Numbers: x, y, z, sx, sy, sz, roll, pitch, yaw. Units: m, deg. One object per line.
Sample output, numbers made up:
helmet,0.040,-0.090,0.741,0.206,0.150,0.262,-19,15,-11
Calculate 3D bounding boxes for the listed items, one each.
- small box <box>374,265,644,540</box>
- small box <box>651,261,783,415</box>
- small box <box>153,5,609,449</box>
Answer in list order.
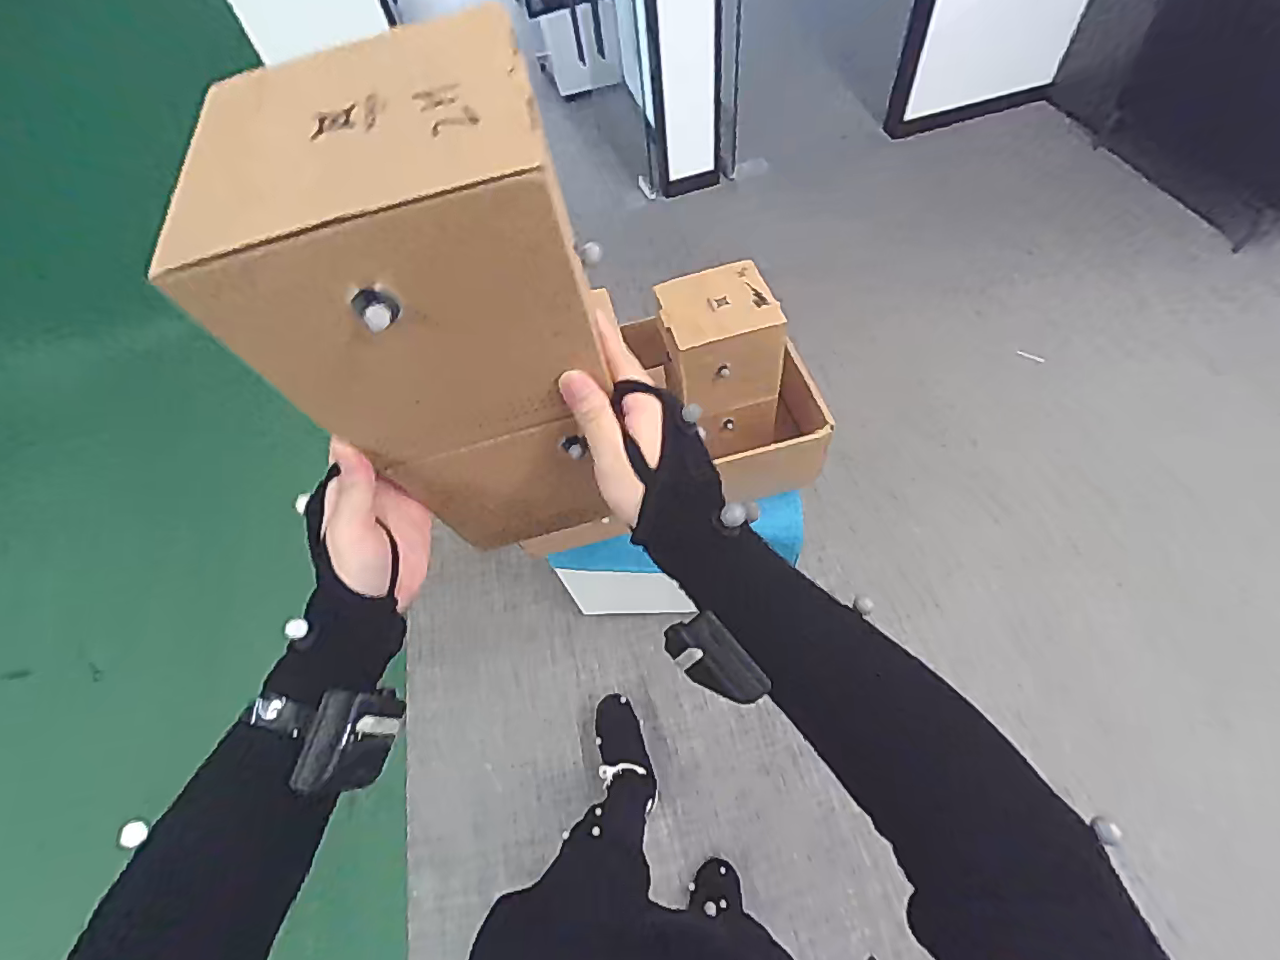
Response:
small box,-0.106,-0.064,0.482,0.179,0.176,0.168,-15,60,1
small box,0.132,-0.237,0.929,0.179,0.176,0.168,-16,58,0
small box,-0.130,-0.141,0.338,0.179,0.176,0.168,-15,61,1
